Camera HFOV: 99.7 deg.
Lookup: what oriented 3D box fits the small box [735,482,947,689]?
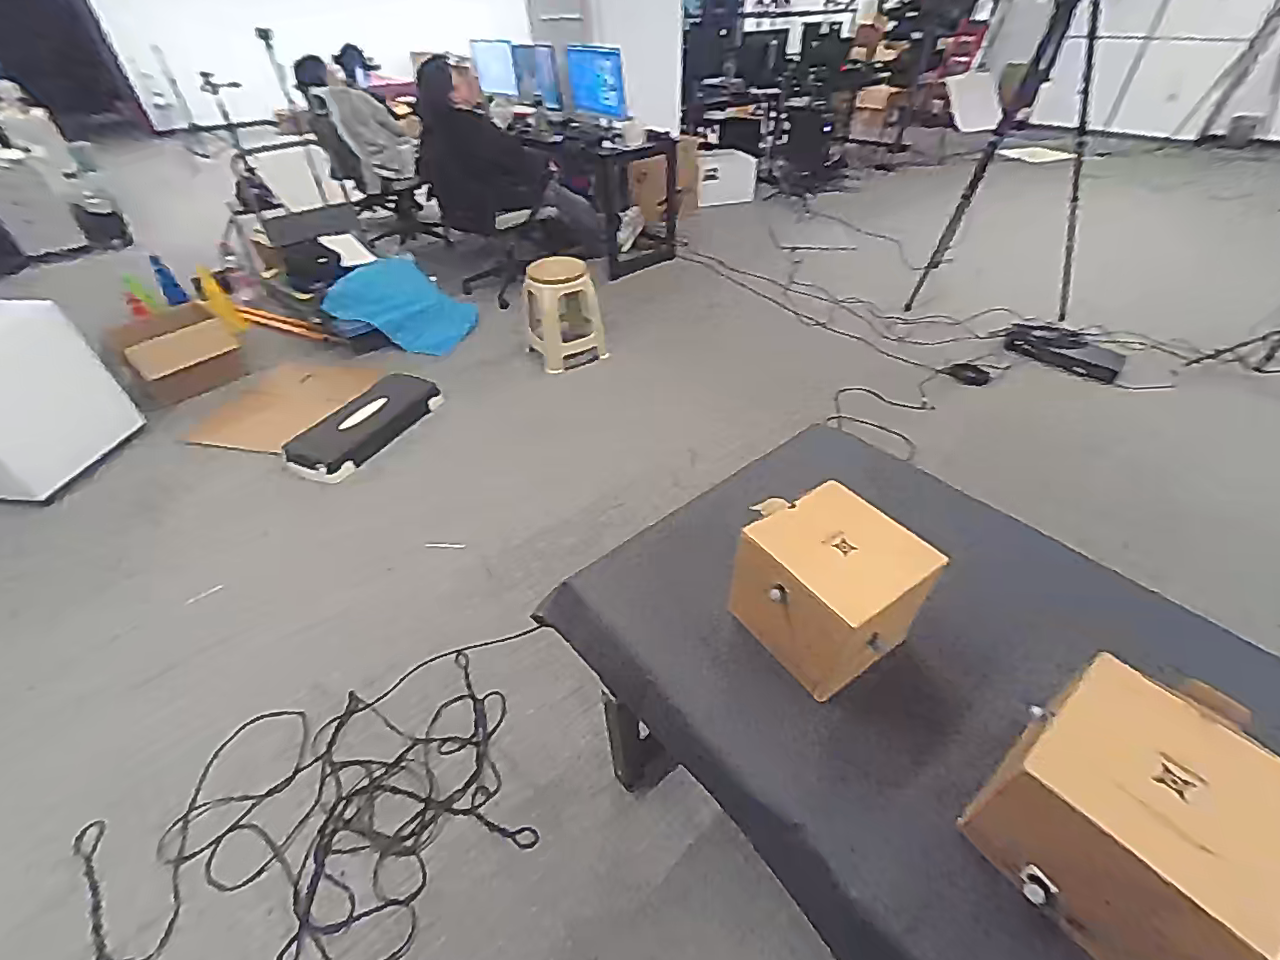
[{"bbox_3d":[0.242,0.139,0.696,0.168,0.176,0.179,-24,46,-25],"label":"small box"}]

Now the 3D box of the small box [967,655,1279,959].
[{"bbox_3d":[0.442,0.306,0.498,0.179,0.176,0.168,-29,47,-27],"label":"small box"}]
